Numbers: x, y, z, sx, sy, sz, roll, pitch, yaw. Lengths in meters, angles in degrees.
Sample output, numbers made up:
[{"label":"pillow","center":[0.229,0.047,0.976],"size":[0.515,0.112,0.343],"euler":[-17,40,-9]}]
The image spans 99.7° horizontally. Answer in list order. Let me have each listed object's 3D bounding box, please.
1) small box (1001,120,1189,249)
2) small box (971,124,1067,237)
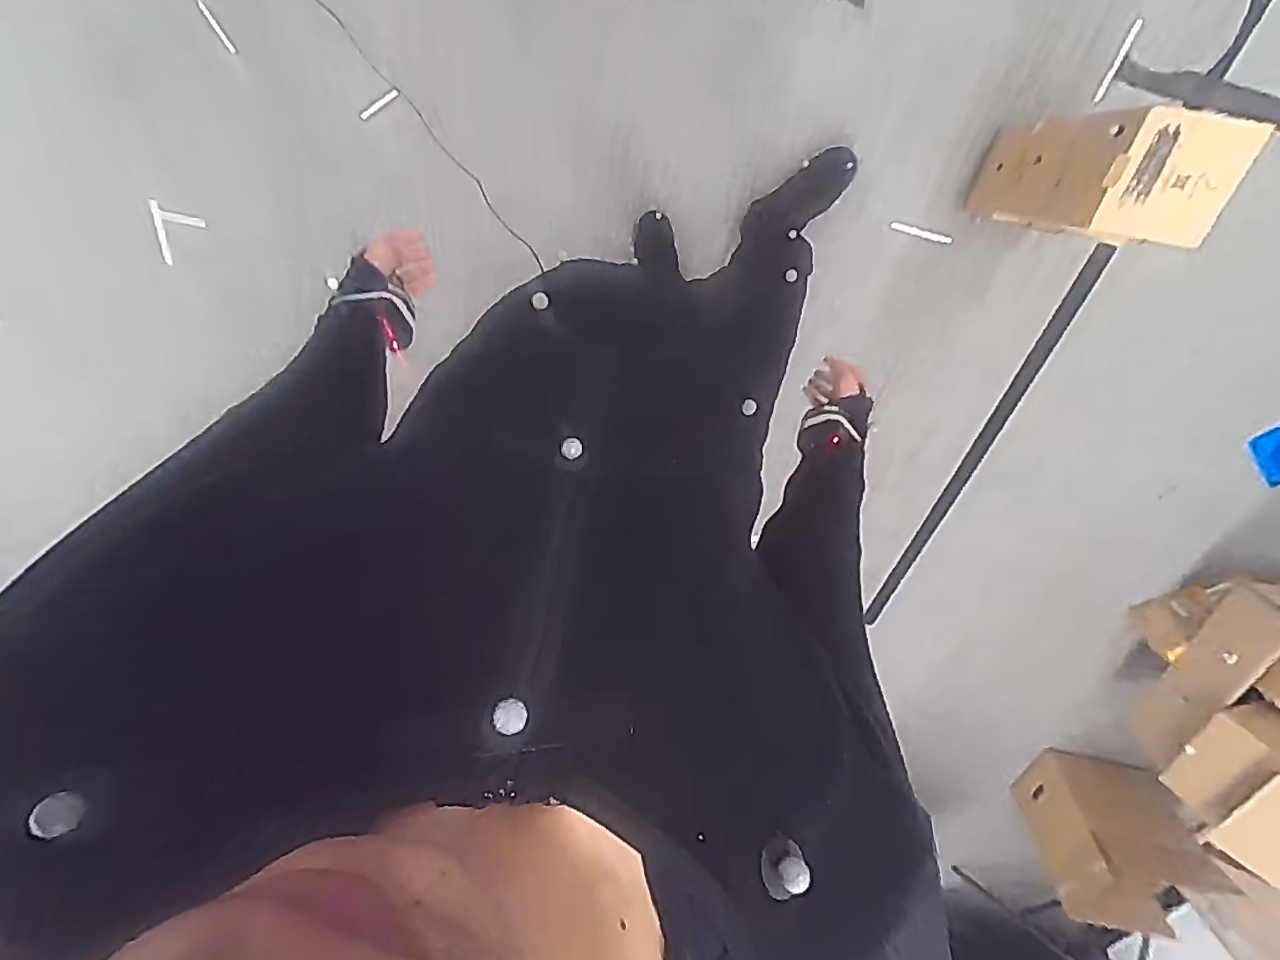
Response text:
[{"label":"small box","center":[0.839,-0.558,1.020],"size":[0.179,0.176,0.168],"euler":[17,122,-1]},{"label":"small box","center":[0.849,-0.641,1.160],"size":[0.168,0.176,0.179],"euler":[13,121,1]}]
